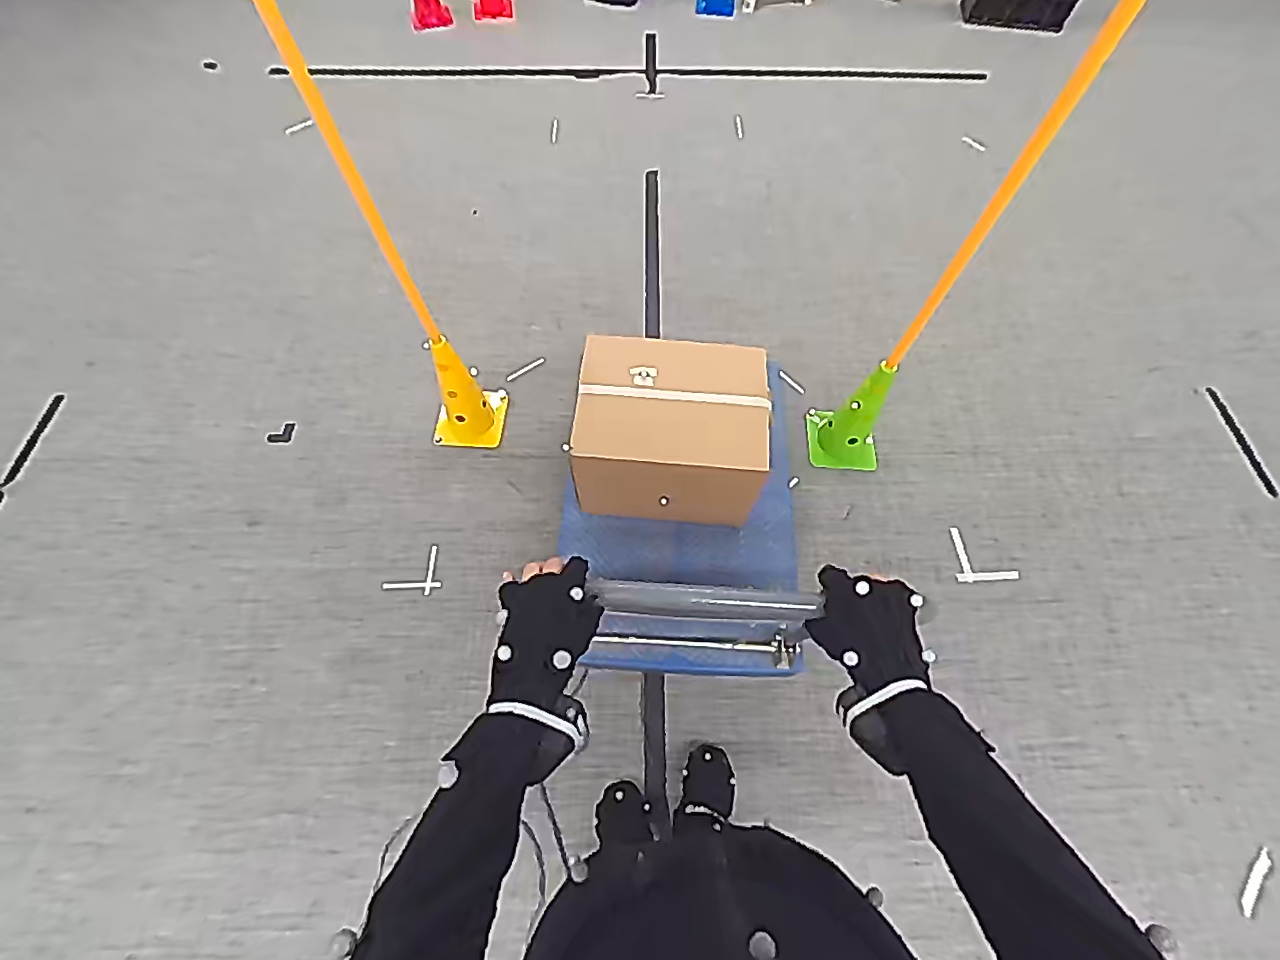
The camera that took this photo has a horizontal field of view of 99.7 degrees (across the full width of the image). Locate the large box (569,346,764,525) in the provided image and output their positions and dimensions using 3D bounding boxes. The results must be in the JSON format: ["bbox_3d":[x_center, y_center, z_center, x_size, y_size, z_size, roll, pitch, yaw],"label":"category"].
[{"bbox_3d":[0.064,-0.093,1.290,0.408,0.320,0.320,4,64,2],"label":"large box"}]

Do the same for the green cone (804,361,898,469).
[{"bbox_3d":[0.617,-0.201,1.510,0.202,0.368,0.200,4,64,0],"label":"green cone"}]
